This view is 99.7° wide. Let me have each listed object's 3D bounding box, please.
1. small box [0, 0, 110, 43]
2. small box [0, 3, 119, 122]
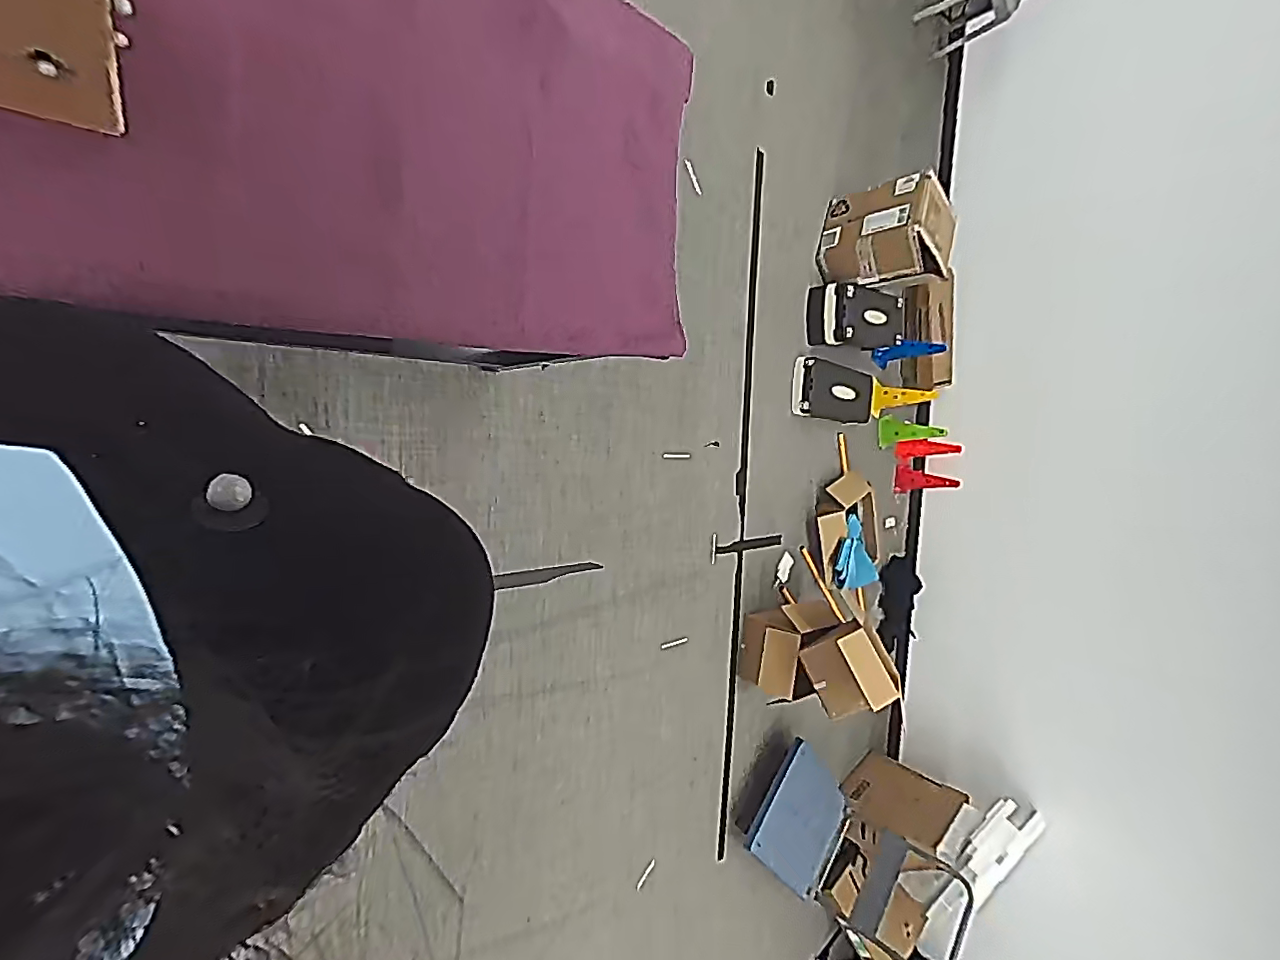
[{"bbox_3d":[-0.434,-0.404,0.312,0.179,0.176,0.168,-7,100,-42],"label":"small box"},{"bbox_3d":[-0.546,-0.424,0.430,0.179,0.176,0.168,-7,100,-42],"label":"small box"}]
